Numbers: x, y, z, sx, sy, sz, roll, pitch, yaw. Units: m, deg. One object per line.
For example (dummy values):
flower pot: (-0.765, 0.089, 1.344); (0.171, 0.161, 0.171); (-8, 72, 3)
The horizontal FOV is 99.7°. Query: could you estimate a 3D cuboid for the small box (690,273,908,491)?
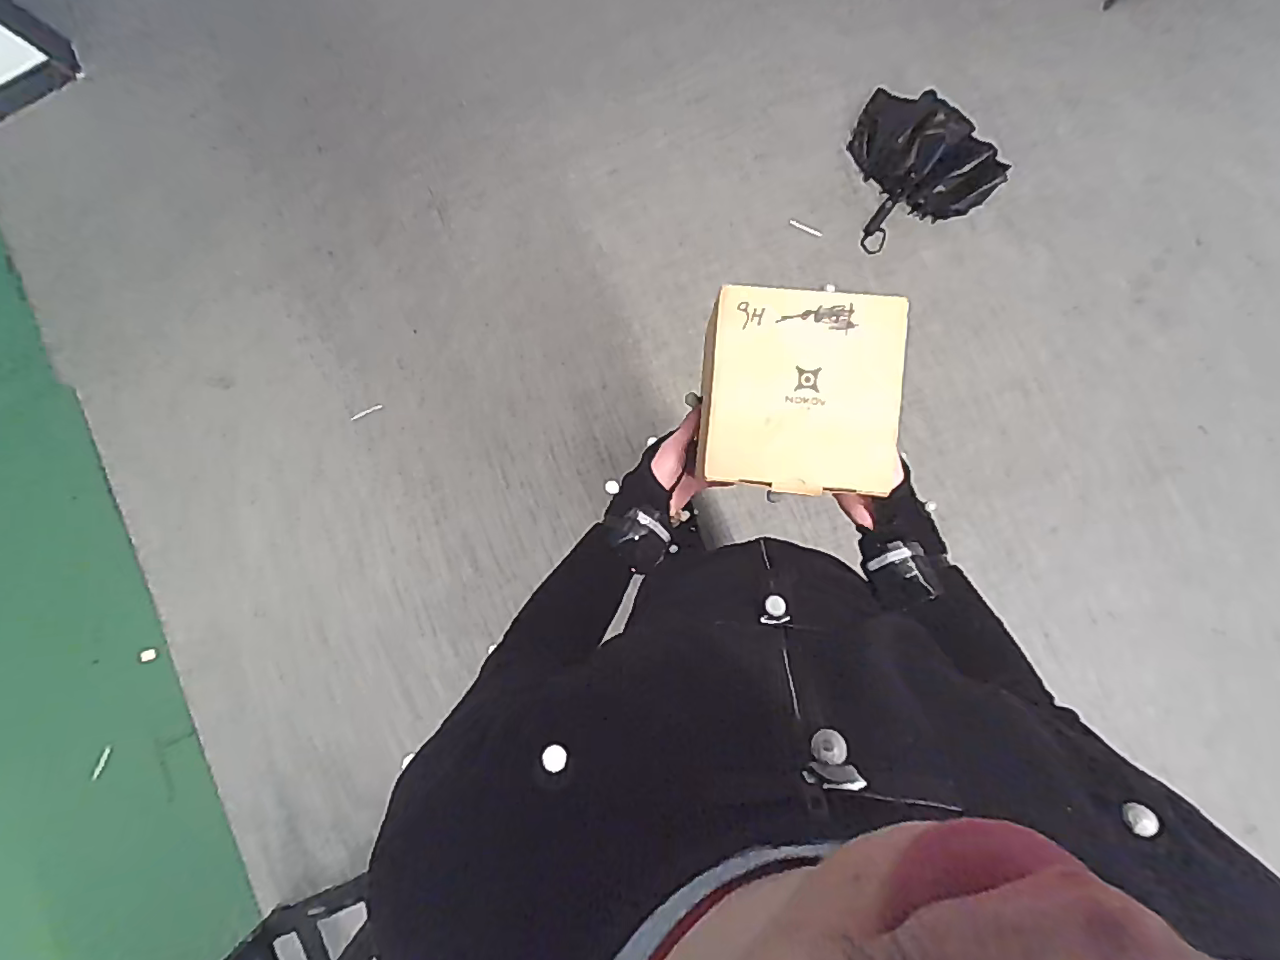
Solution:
small box: (0.141, -0.087, 0.544); (0.168, 0.176, 0.179); (5, 91, 1)
